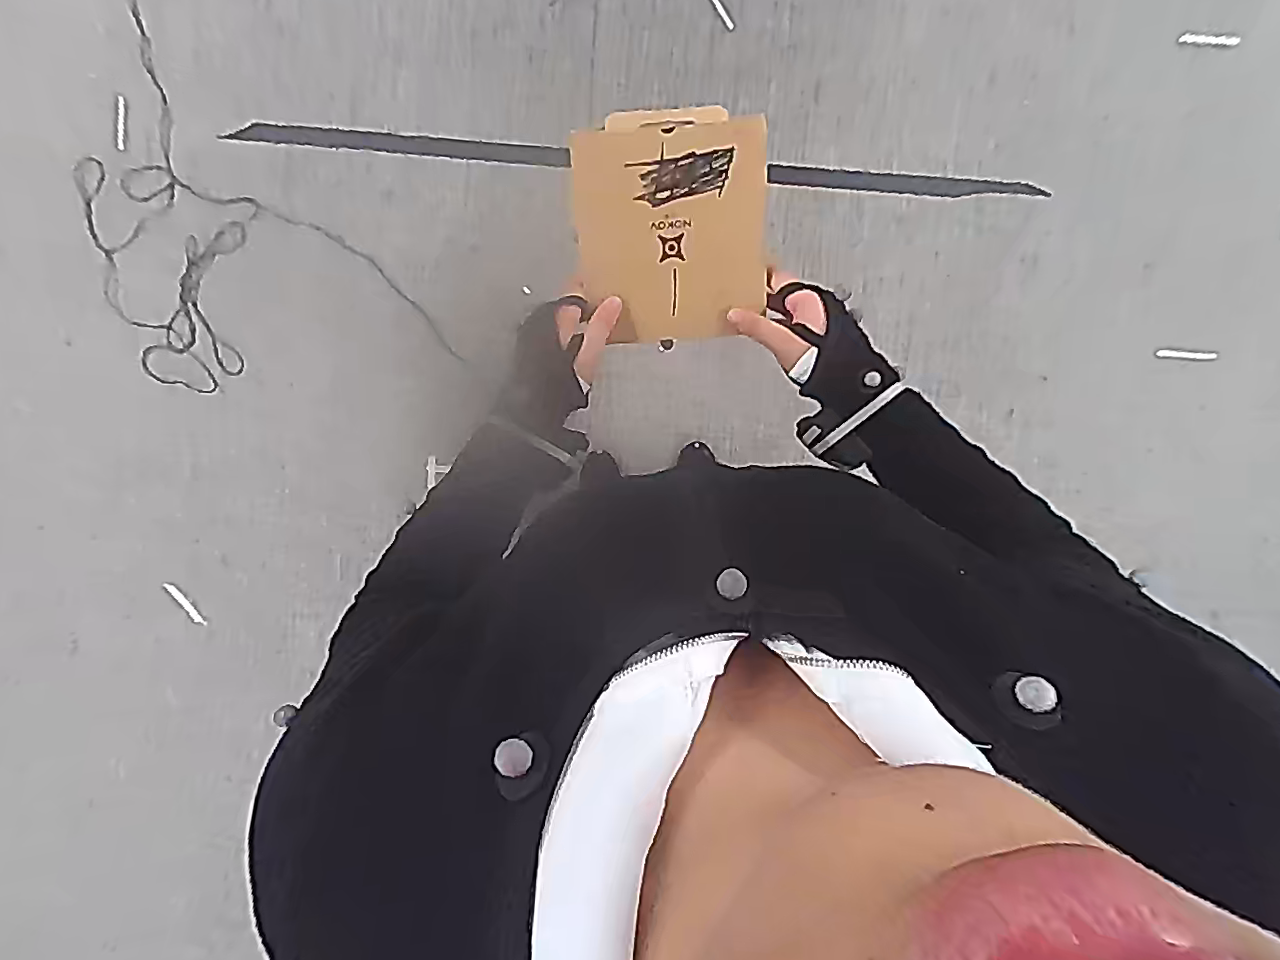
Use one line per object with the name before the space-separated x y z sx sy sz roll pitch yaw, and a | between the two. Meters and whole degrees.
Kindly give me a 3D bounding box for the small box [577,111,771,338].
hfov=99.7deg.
small box | 0.033 -0.242 0.549 0.168 0.176 0.179 -3 108 3
